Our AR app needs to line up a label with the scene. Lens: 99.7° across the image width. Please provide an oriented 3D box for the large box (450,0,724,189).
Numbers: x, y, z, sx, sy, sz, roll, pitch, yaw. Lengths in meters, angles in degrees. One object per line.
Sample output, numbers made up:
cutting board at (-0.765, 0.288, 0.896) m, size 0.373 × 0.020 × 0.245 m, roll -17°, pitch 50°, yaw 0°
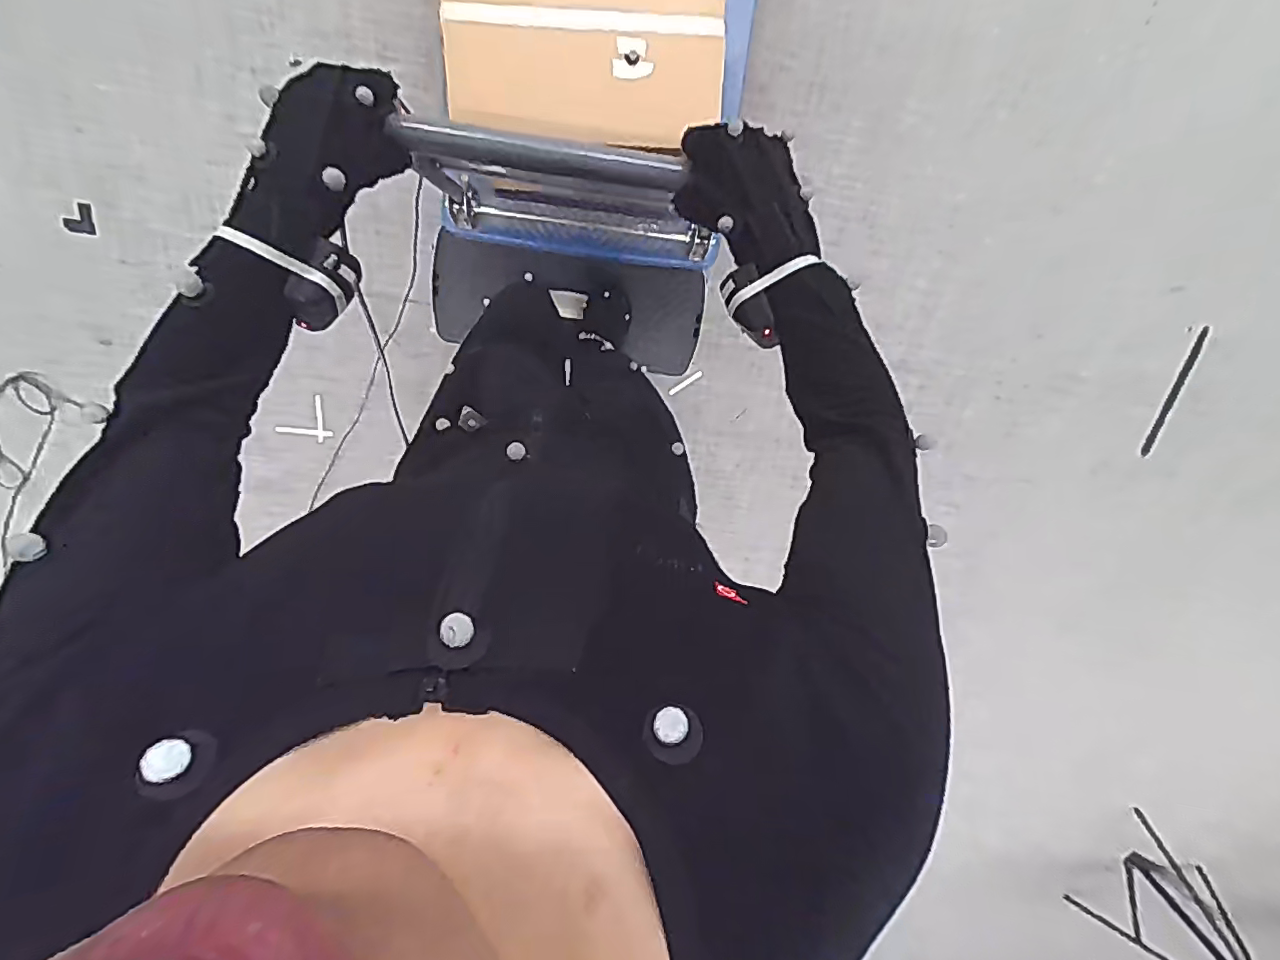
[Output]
large box at (-0.089, -0.711, 0.930) m, size 0.408 × 0.320 × 0.320 m, roll 0°, pitch 106°, yaw -5°
